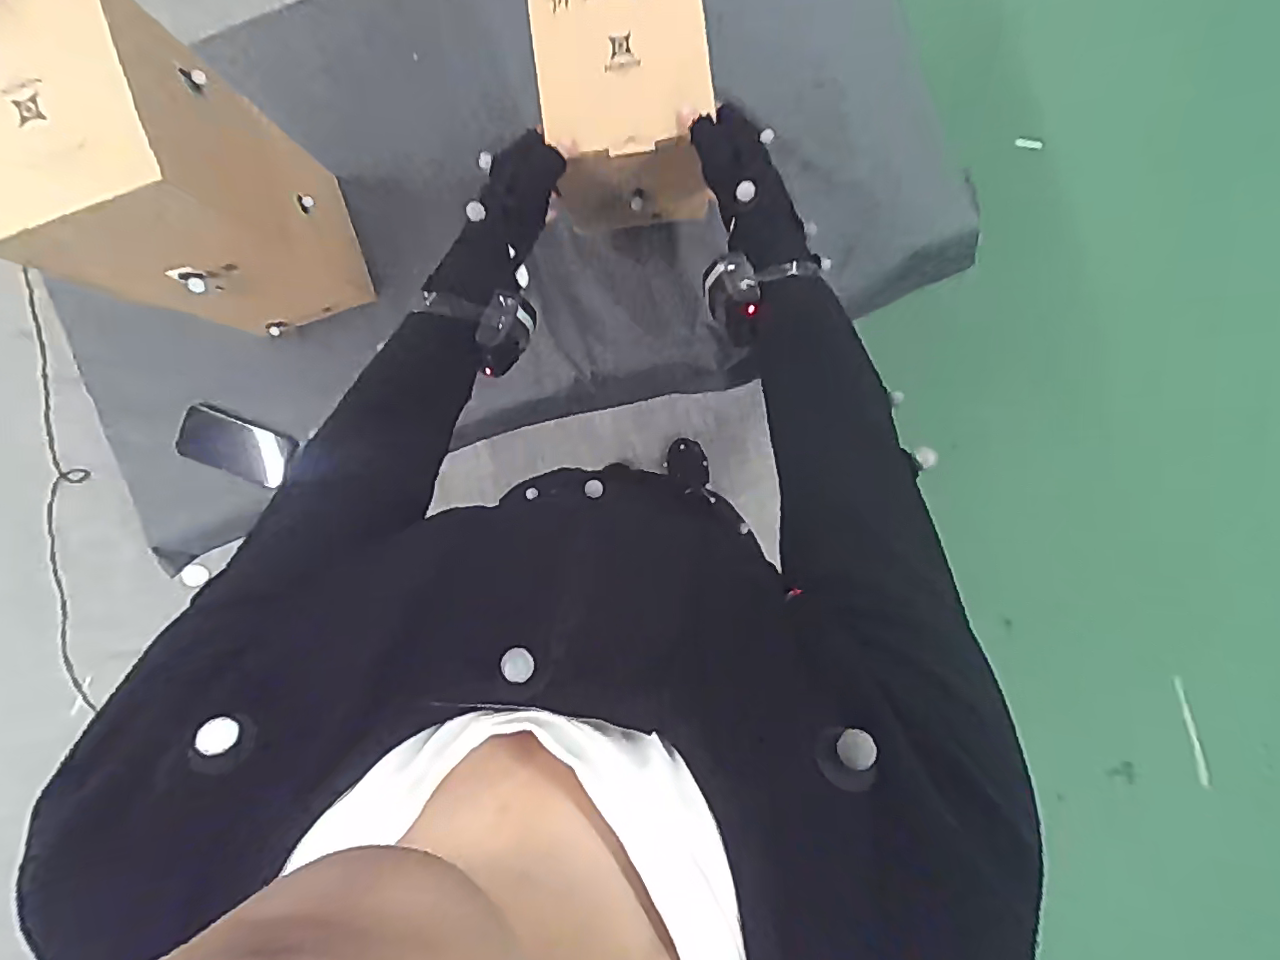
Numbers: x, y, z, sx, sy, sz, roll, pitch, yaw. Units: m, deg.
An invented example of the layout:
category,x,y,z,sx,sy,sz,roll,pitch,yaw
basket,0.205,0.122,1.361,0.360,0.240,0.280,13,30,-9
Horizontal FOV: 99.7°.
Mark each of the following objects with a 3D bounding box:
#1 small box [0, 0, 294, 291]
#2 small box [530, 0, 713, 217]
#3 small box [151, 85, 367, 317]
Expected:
category,x,y,z,sx,sy,sz,roll,pitch,yaw
small box,-0.463,-0.299,0.487,0.168,0.176,0.179,-19,93,3
small box,-0.013,-0.405,0.584,0.168,0.176,0.179,-6,92,4
small box,-0.463,-0.310,0.649,0.168,0.176,0.179,-18,91,1
